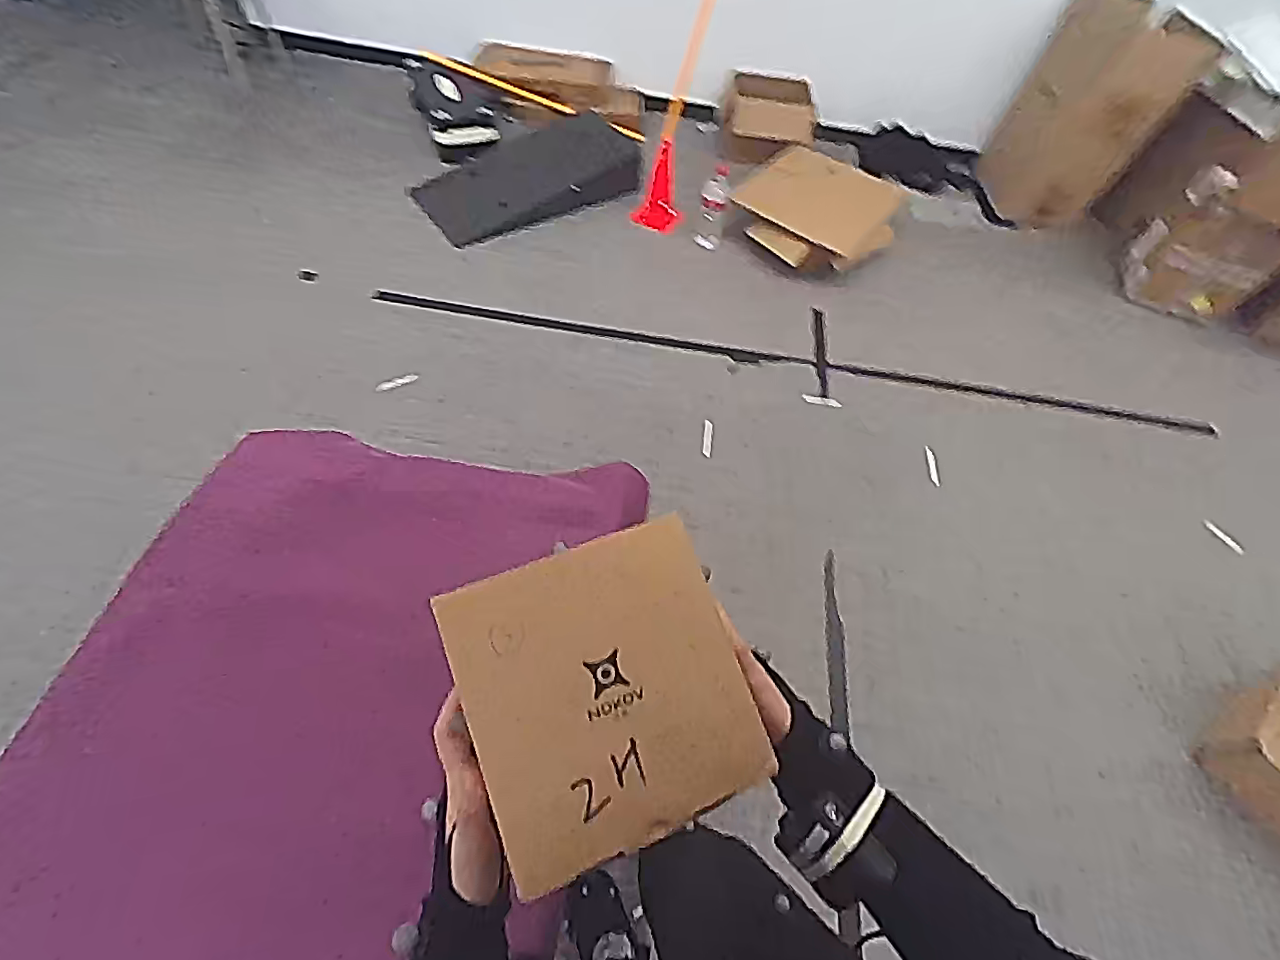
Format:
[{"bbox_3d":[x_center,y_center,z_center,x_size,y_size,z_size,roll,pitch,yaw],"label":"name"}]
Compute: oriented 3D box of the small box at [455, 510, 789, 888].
[{"bbox_3d":[-0.024,0.141,0.403,0.168,0.176,0.179,-17,80,-14],"label":"small box"}]
